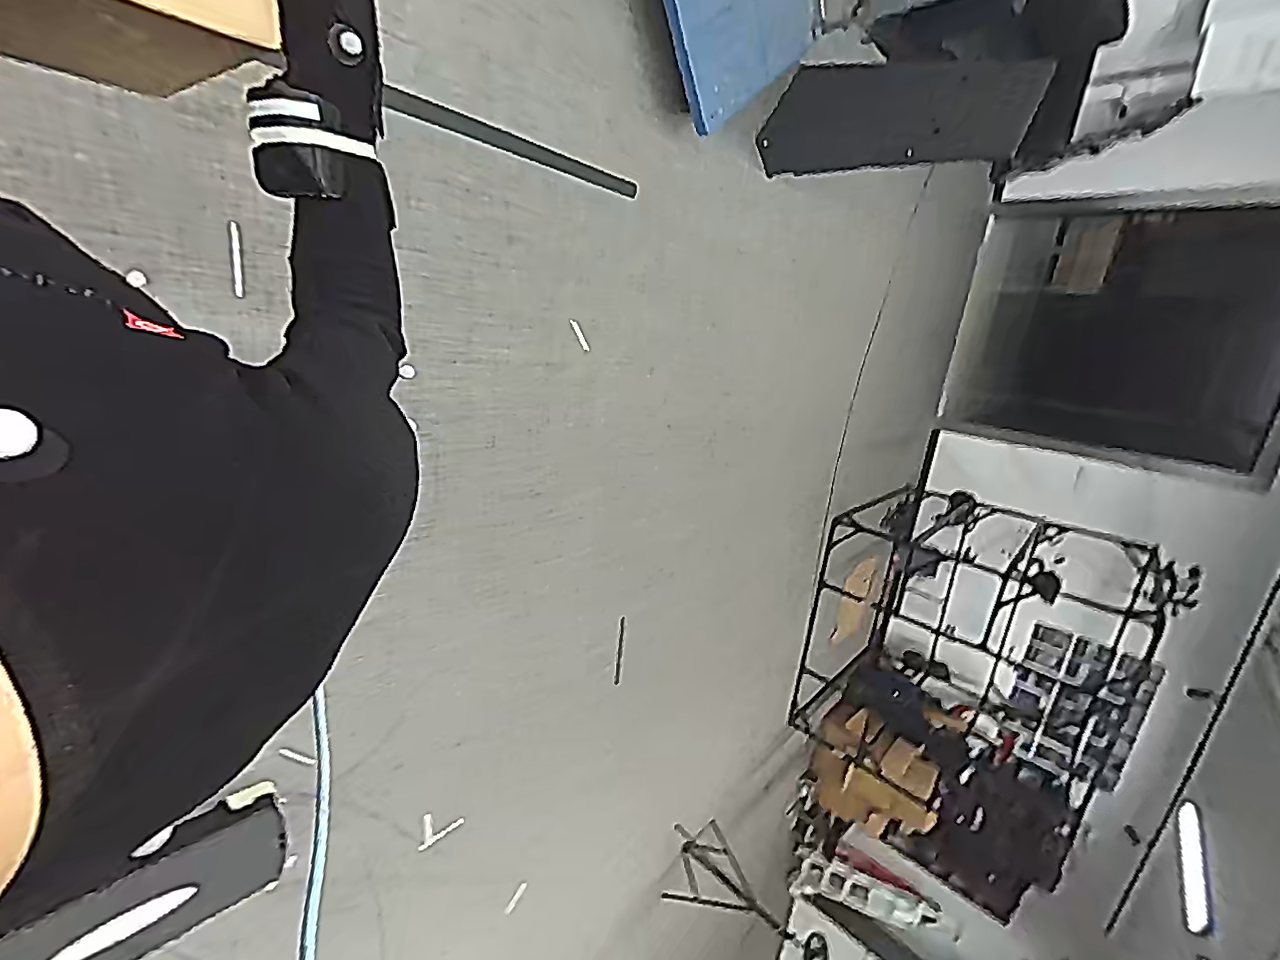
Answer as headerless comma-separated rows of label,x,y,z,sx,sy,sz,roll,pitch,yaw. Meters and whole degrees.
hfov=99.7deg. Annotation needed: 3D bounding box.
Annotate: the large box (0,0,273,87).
large box,-0.477,-0.446,0.257,0.408,0.320,0.320,-17,122,-49
